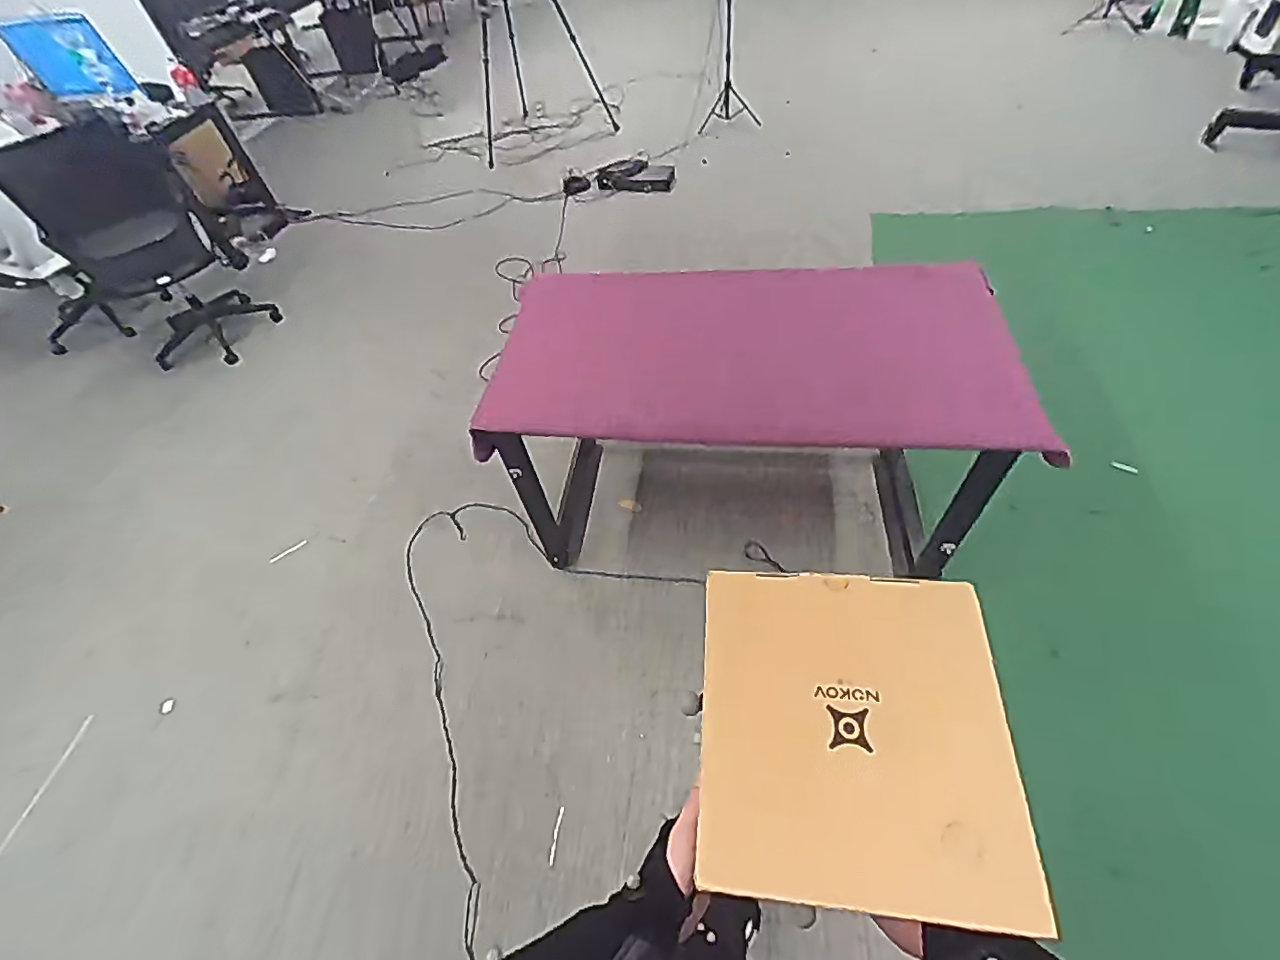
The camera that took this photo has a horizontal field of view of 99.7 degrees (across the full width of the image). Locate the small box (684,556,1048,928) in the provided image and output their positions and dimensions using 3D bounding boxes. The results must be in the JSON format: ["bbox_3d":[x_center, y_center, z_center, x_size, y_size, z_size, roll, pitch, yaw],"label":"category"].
[{"bbox_3d":[0.123,0.168,0.364,0.168,0.176,0.179,1,56,10],"label":"small box"}]
